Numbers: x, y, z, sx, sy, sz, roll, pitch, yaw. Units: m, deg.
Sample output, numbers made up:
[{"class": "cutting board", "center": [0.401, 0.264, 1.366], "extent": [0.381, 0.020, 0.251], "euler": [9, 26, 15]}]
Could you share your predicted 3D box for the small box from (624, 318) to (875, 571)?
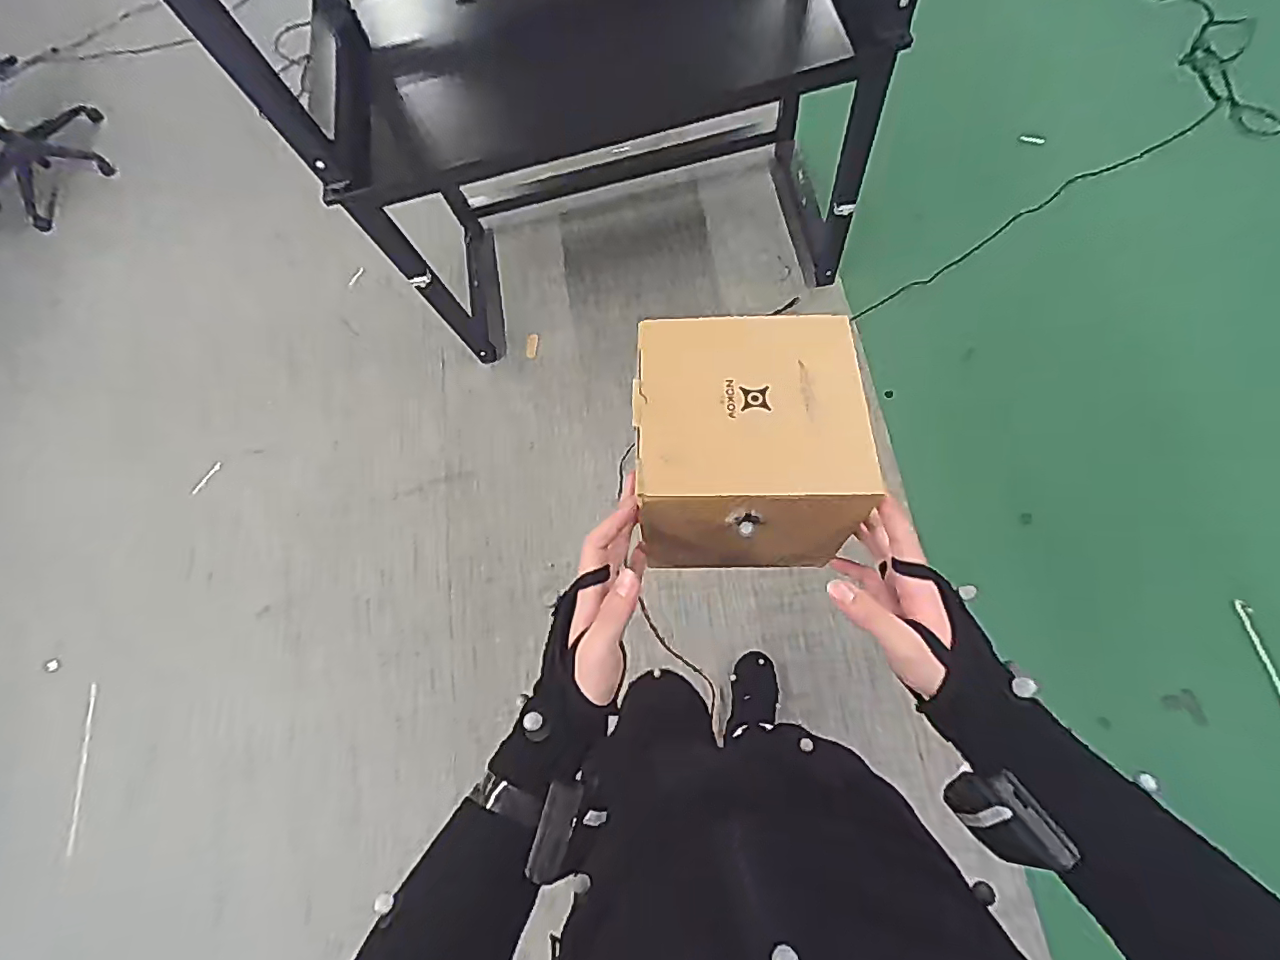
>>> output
[{"class": "small box", "center": [0.082, -0.021, 0.482], "extent": [0.179, 0.176, 0.168], "euler": [-1, 63, 3]}]
